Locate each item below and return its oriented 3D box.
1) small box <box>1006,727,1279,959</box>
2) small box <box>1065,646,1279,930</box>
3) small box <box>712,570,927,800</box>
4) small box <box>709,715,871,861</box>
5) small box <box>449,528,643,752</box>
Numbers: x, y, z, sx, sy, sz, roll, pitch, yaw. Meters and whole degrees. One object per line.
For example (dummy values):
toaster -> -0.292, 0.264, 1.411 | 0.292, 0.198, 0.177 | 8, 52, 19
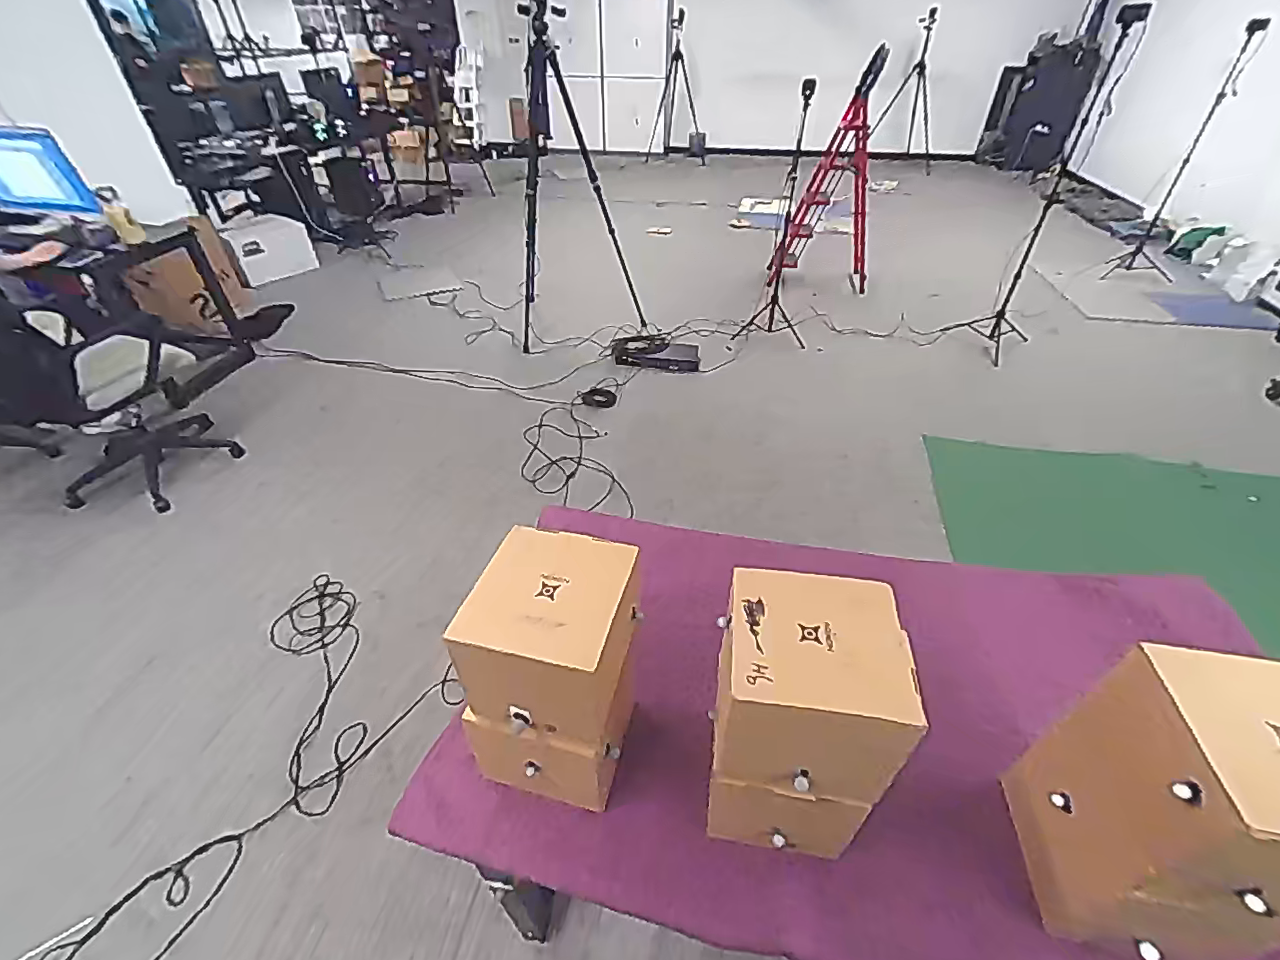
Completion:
small box -> 0.562, 0.422, 0.622 | 0.168, 0.176, 0.179 | 7, 40, 9
small box -> 0.565, 0.294, 0.523 | 0.168, 0.176, 0.179 | 7, 40, 8
small box -> 0.181, 0.226, 0.598 | 0.179, 0.176, 0.168 | 7, 38, 7
small box -> 0.181, 0.354, 0.702 | 0.168, 0.176, 0.179 | 6, 39, 8
small box -> -0.097, 0.187, 0.645 | 0.168, 0.176, 0.179 | 8, 40, 11
